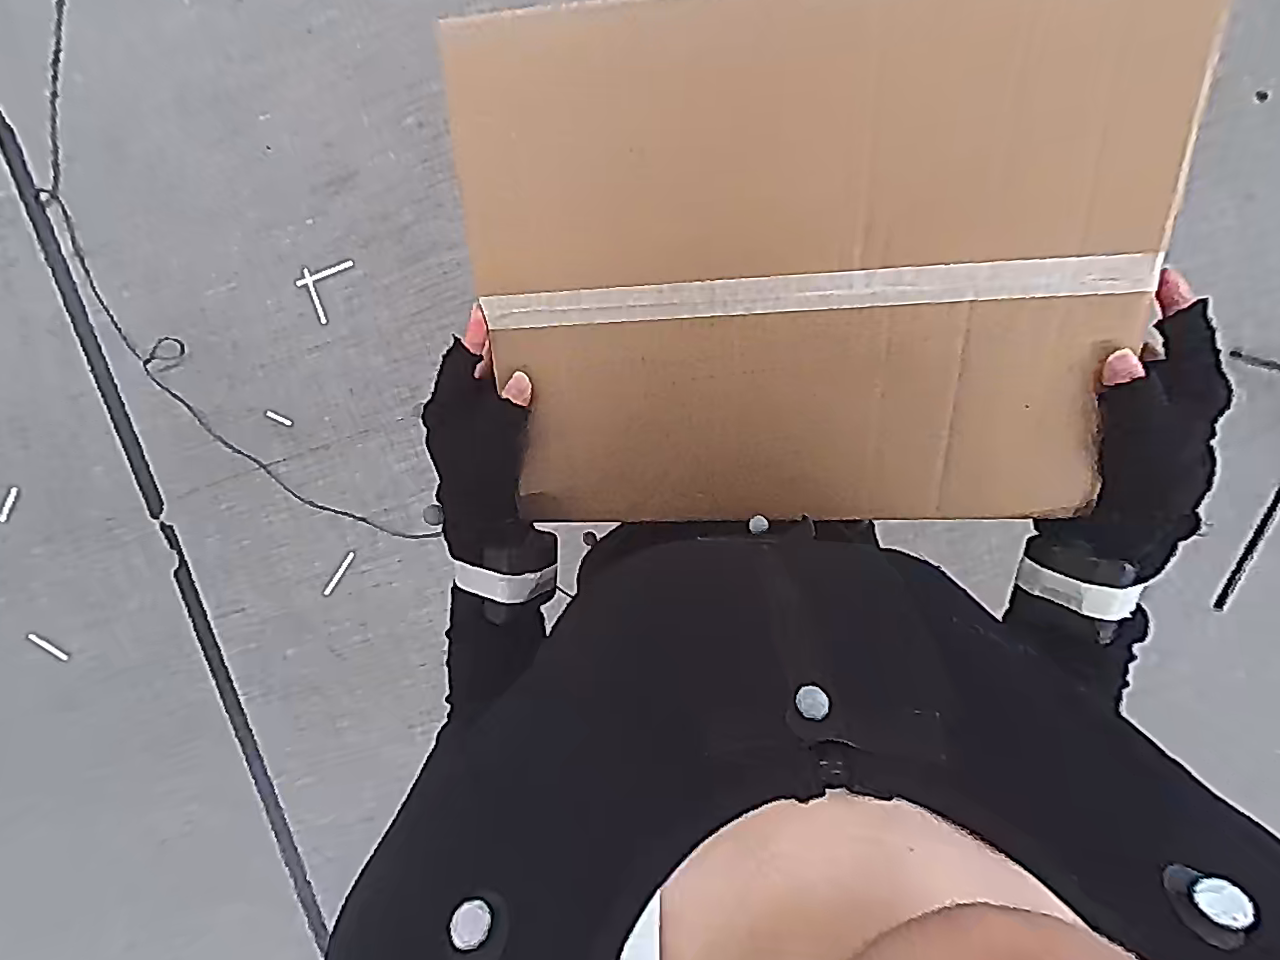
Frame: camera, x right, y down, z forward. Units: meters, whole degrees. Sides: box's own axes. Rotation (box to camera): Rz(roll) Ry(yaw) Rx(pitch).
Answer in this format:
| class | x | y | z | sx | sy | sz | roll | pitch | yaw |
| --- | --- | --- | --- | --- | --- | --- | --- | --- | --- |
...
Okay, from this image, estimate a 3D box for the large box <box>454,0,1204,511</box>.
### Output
| class | x | y | z | sx | sy | sz | roll | pitch | yaw |
| --- | --- | --- | --- | --- | --- | --- | --- | --- | --- |
| large box | 0.110 | -0.179 | 0.481 | 0.408 | 0.320 | 0.320 | -1 | 113 | 6 |
